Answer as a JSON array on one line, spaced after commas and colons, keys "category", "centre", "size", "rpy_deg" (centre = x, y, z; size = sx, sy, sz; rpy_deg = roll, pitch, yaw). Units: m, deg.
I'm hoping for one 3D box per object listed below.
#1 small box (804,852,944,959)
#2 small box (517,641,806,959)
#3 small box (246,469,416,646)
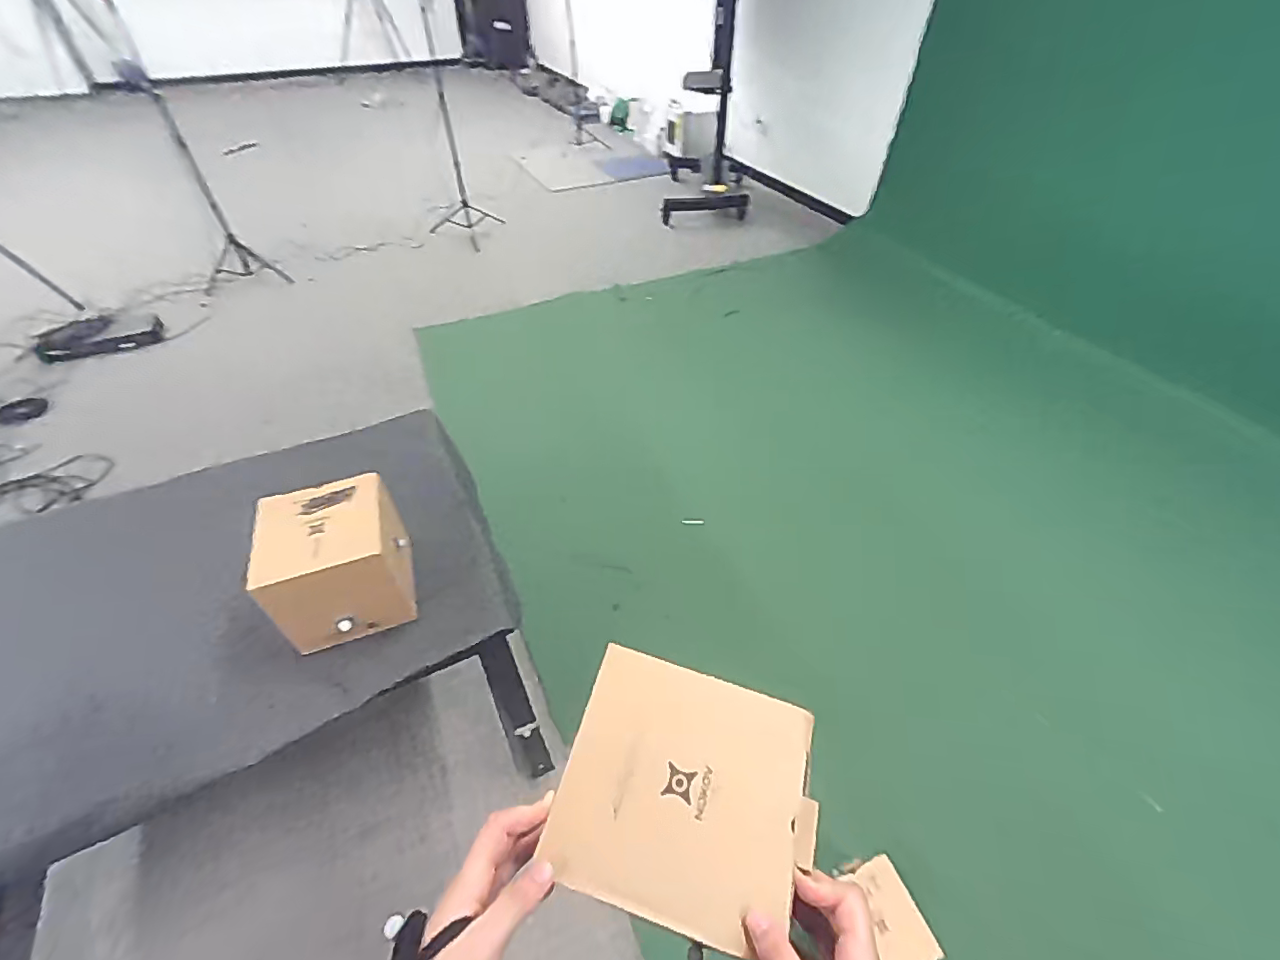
[{"category": "small box", "centre": [0.459, 0.893, 1.090], "size": [0.168, 0.176, 0.179], "rpy_deg": [-14, 48, -15]}, {"category": "small box", "centre": [0.020, 0.262, 0.450], "size": [0.179, 0.176, 0.168], "rpy_deg": [15, 53, 7]}, {"category": "small box", "centre": [-0.451, 0.115, 0.814], "size": [0.168, 0.176, 0.179], "rpy_deg": [-16, 46, -14]}]
